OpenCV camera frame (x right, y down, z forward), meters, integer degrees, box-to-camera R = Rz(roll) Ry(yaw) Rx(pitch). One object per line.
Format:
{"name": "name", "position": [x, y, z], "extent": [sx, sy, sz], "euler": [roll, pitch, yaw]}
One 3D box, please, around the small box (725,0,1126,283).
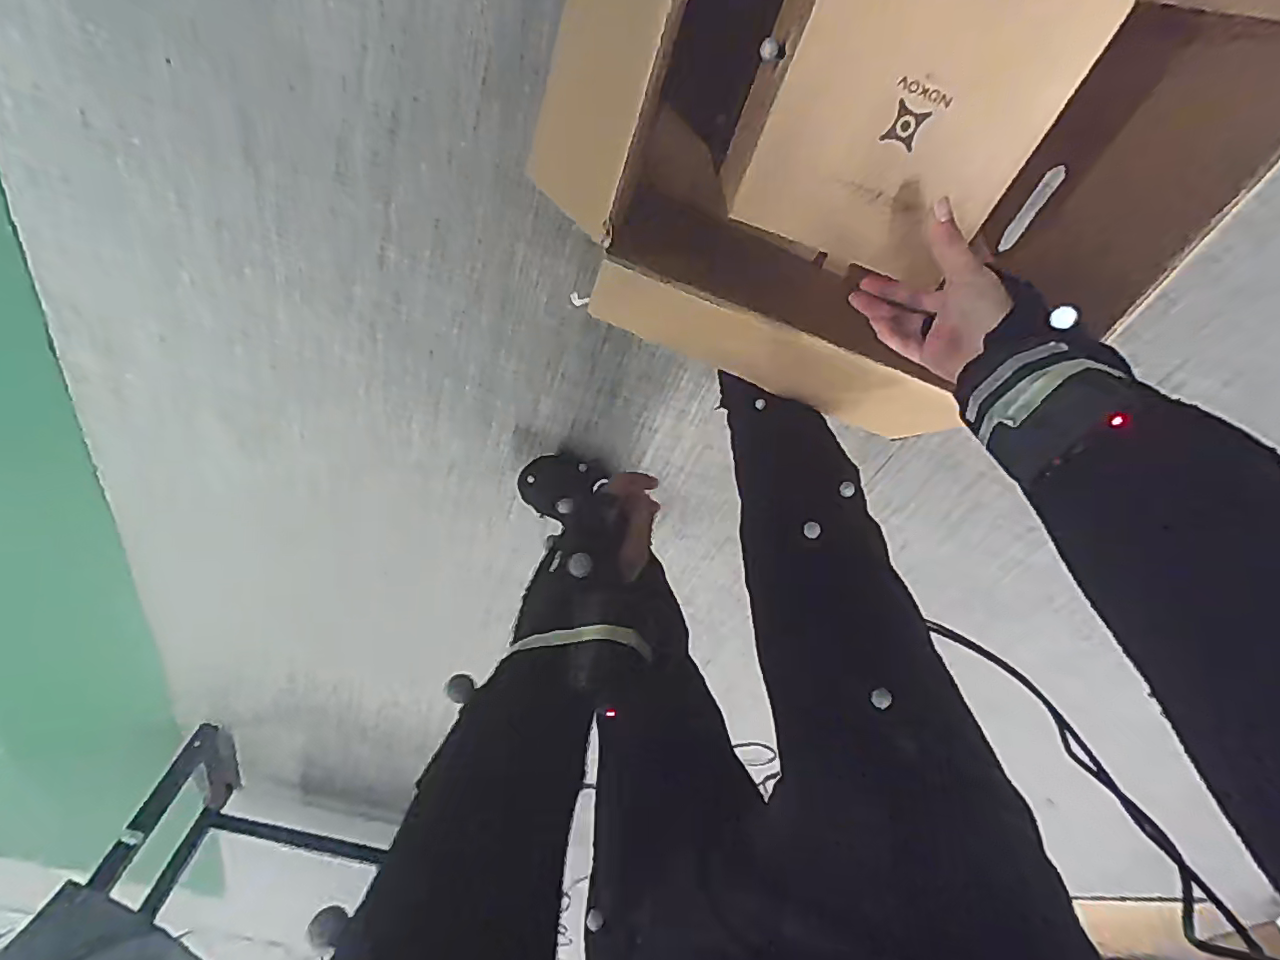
{"name": "small box", "position": [0.168, -0.280, 0.391], "extent": [0.168, 0.176, 0.179], "euler": [17, 130, -9]}
